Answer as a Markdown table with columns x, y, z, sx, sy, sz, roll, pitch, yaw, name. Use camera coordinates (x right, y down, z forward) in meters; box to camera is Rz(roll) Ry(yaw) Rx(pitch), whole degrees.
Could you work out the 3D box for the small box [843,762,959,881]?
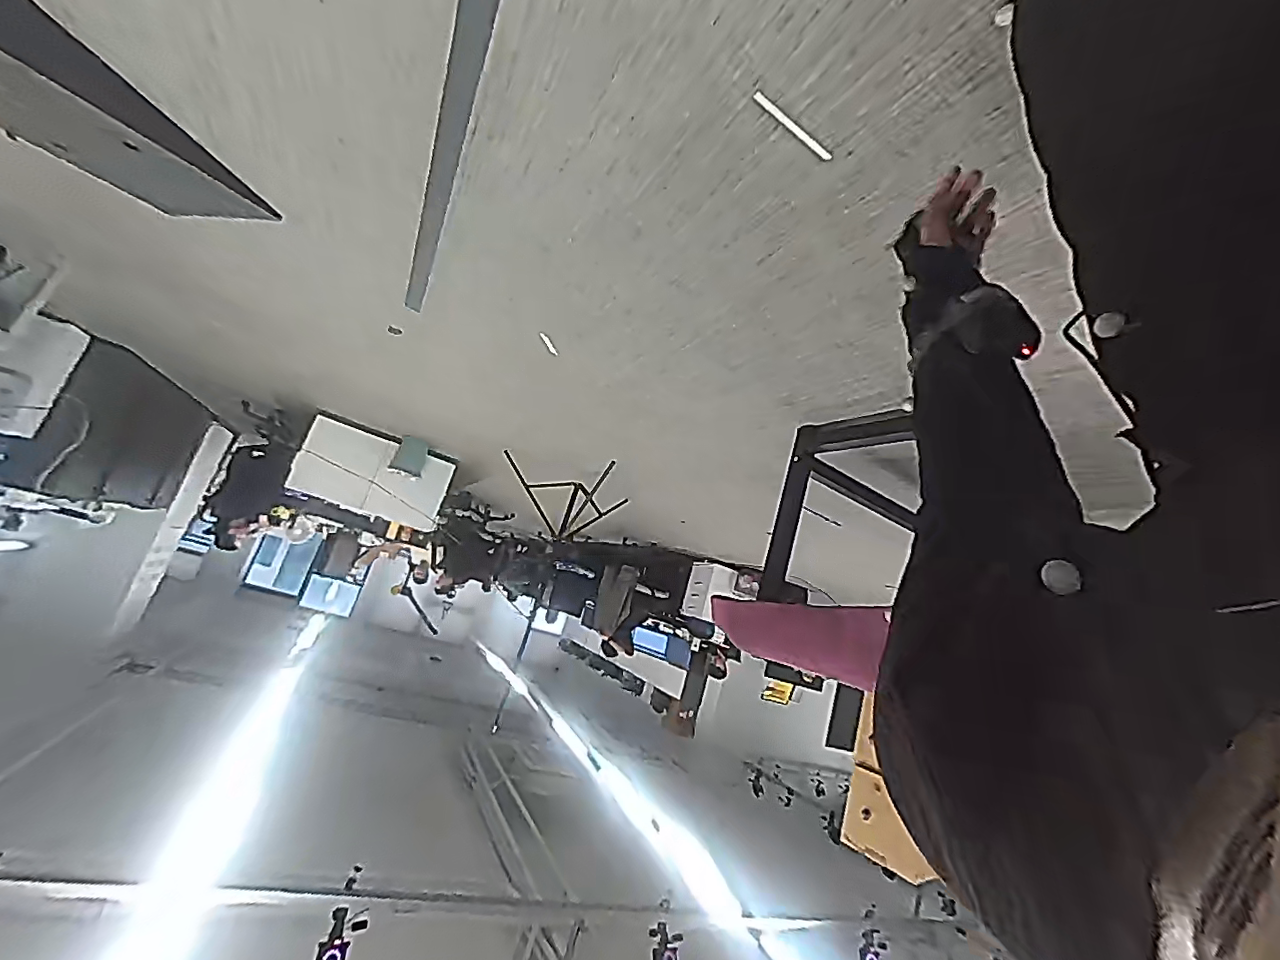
| x | y | z | sx | sy | sz | roll | pitch | yaw | name |
| --- | --- | --- | --- | --- | --- | --- | --- | --- | --- |
| 0.581 | 0.745 | 1.200 | 0.179 | 0.176 | 0.168 | 24 | 167 | -37 | small box |
